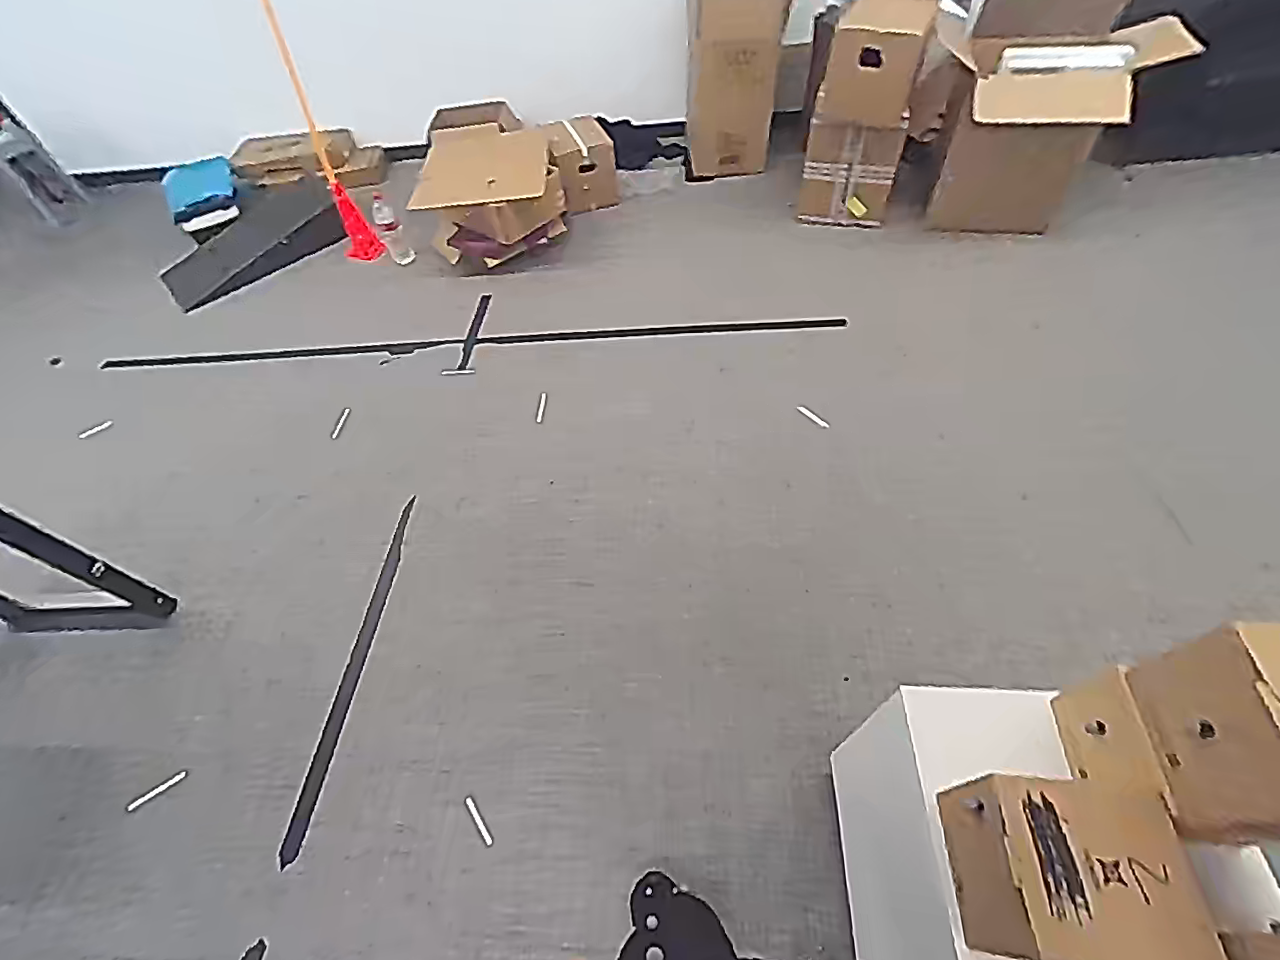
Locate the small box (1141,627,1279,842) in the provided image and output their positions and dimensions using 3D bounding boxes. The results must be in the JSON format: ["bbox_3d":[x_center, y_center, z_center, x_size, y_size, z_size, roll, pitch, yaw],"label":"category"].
[{"bbox_3d":[0.660,0.260,0.538,0.179,0.176,0.168,2,54,8],"label":"small box"}]

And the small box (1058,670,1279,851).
[{"bbox_3d":[0.667,0.352,0.674,0.179,0.176,0.168,3,54,8],"label":"small box"}]
